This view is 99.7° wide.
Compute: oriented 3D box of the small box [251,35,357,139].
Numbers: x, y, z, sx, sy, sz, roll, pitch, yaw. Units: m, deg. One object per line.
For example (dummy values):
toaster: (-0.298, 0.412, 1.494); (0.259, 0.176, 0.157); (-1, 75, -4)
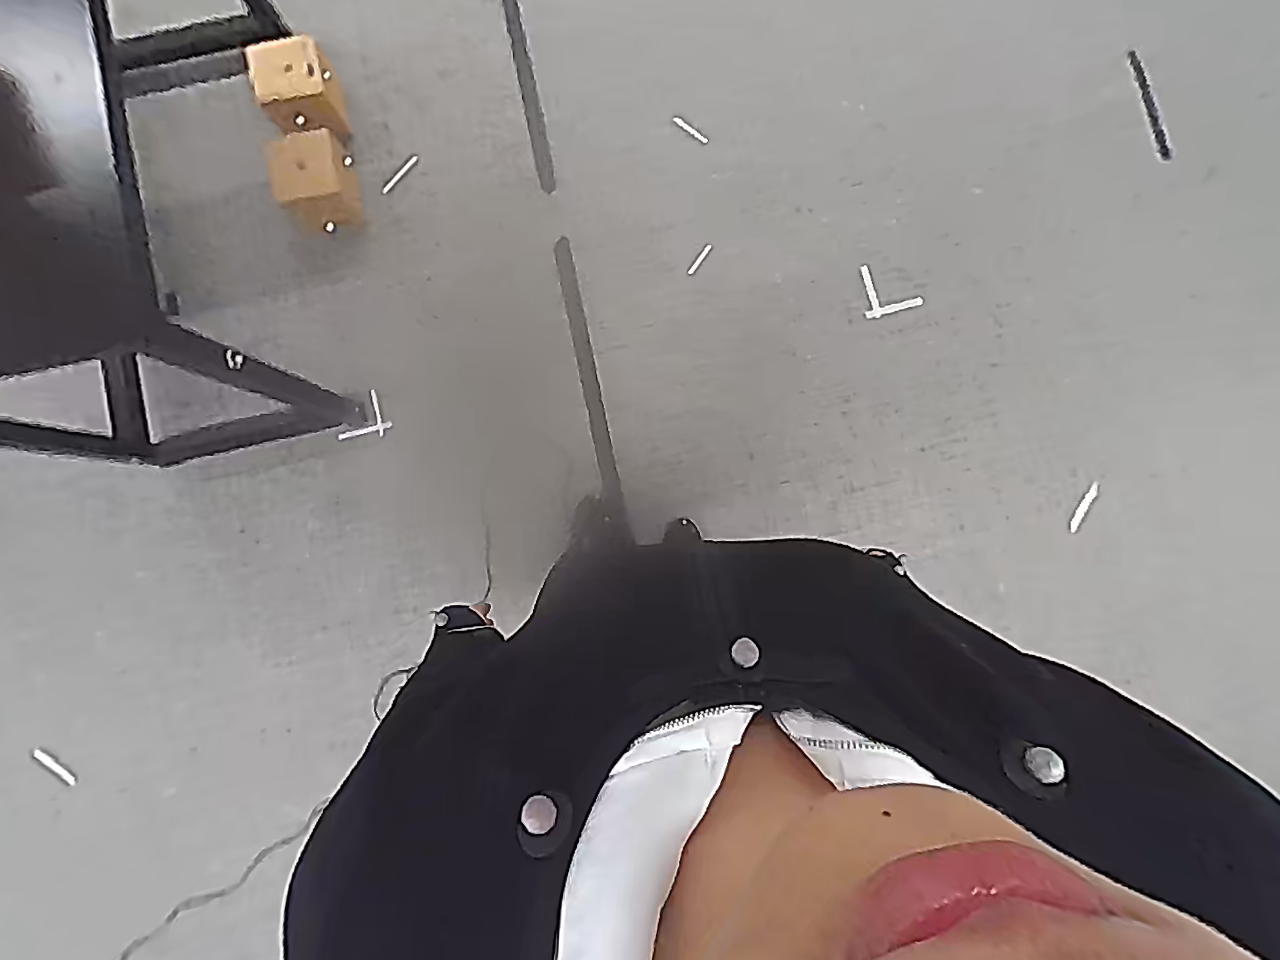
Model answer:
small box: (-0.923, -1.069, 1.497); (0.179, 0.176, 0.168); (-13, 87, -2)

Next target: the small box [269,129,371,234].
small box: (-0.870, -0.812, 1.482); (0.168, 0.176, 0.179); (-13, 87, -1)
